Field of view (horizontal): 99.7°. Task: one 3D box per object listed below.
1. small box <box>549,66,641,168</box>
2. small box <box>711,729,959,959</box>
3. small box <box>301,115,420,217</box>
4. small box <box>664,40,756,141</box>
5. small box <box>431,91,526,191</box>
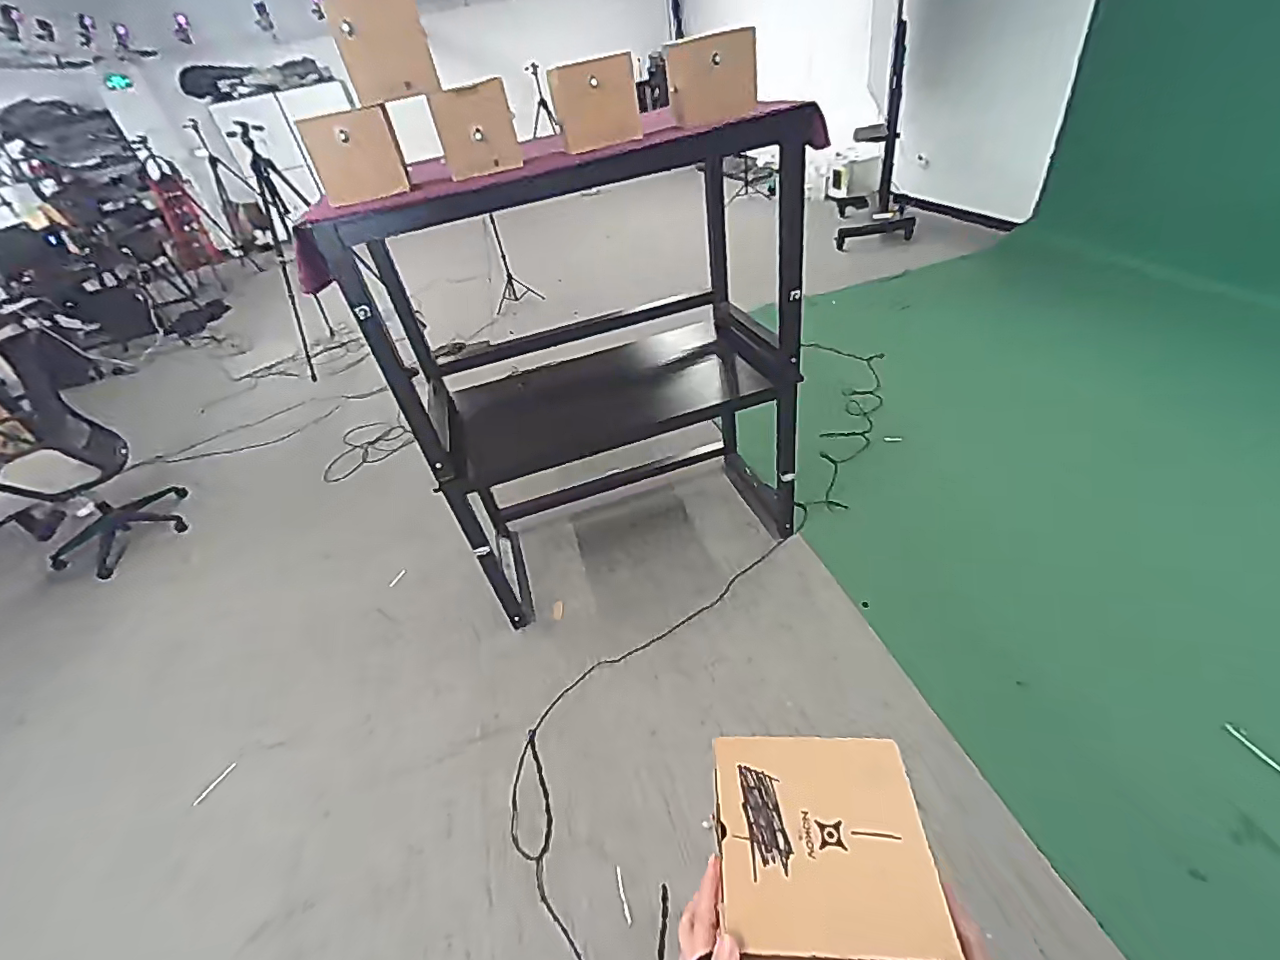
[{"bbox_3d":[-0.102,-0.863,1.289,0.179,0.176,0.168,-18,37,-6],"label":"small box"},{"bbox_3d":[0.161,0.359,0.514,0.179,0.176,0.168,-2,38,5],"label":"small box"},{"bbox_3d":[-0.619,-0.707,1.218,0.179,0.176,0.168,-17,38,-9],"label":"small box"},{"bbox_3d":[0.172,-0.945,1.318,0.179,0.176,0.168,-15,39,-4],"label":"small box"},{"bbox_3d":[-0.371,-0.782,1.252,0.168,0.176,0.179,-17,38,-8],"label":"small box"}]
